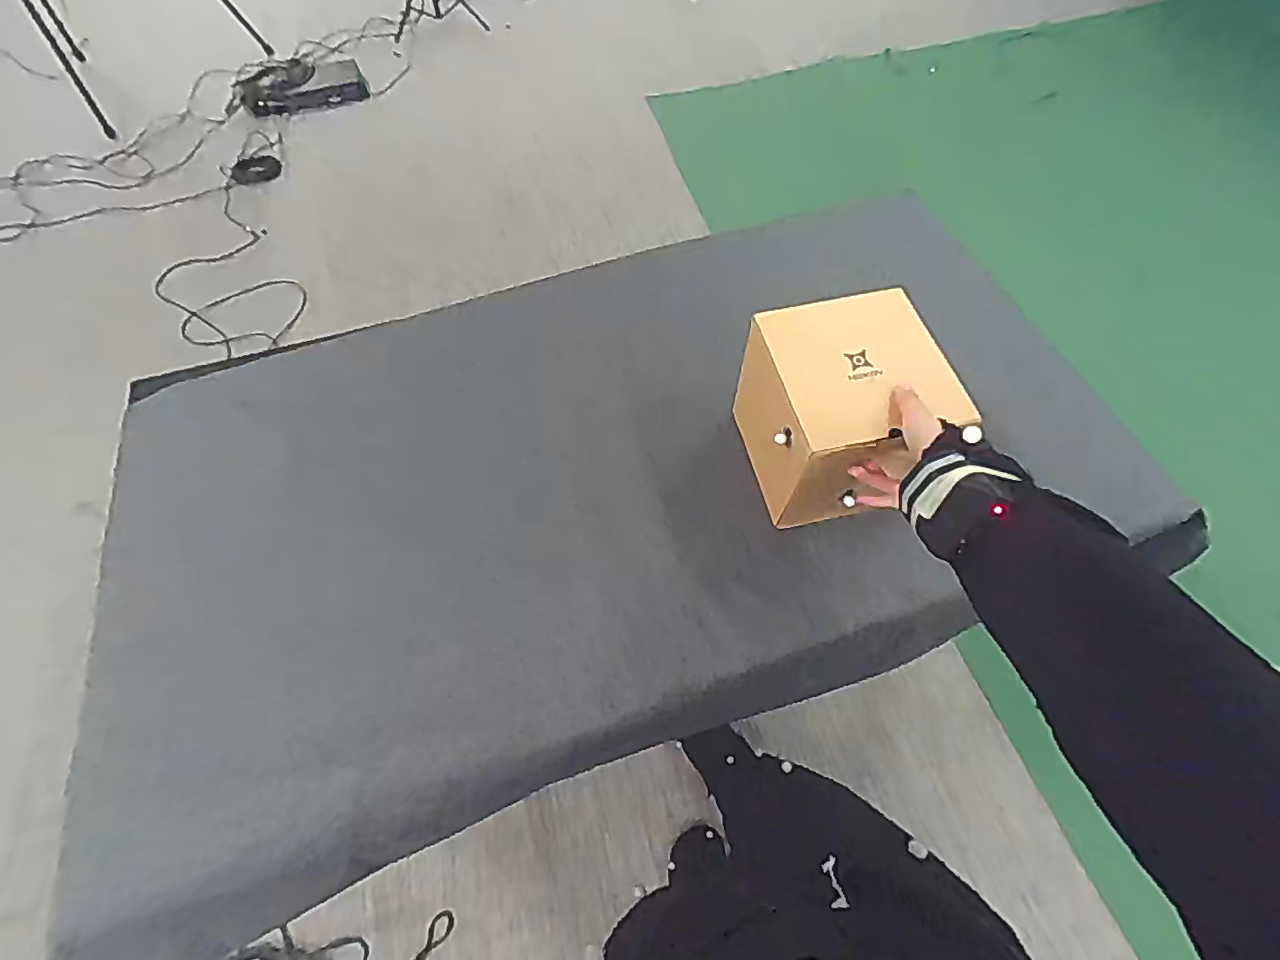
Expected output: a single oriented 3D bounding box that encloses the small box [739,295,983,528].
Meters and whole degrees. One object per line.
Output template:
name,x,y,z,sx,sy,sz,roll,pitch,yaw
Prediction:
small box,0.218,-0.070,0.595,0.168,0.176,0.179,-11,62,-5
